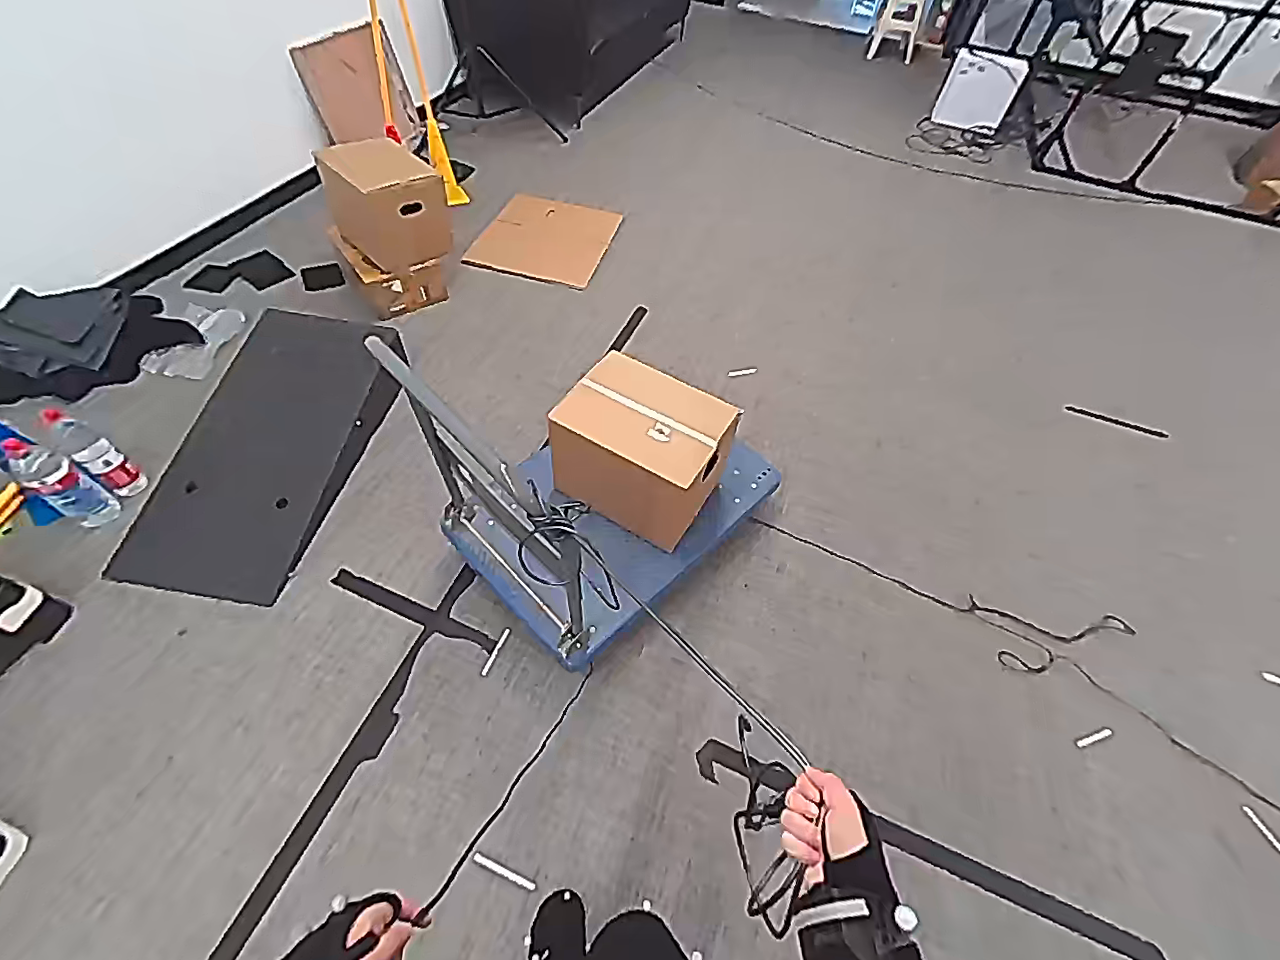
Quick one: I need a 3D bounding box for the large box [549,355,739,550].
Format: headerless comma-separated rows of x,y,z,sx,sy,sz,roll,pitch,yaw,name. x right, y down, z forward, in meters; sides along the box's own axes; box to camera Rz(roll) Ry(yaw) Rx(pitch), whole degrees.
0.001,-0.075,1.498,0.408,0.320,0.320,28,57,14,large box
